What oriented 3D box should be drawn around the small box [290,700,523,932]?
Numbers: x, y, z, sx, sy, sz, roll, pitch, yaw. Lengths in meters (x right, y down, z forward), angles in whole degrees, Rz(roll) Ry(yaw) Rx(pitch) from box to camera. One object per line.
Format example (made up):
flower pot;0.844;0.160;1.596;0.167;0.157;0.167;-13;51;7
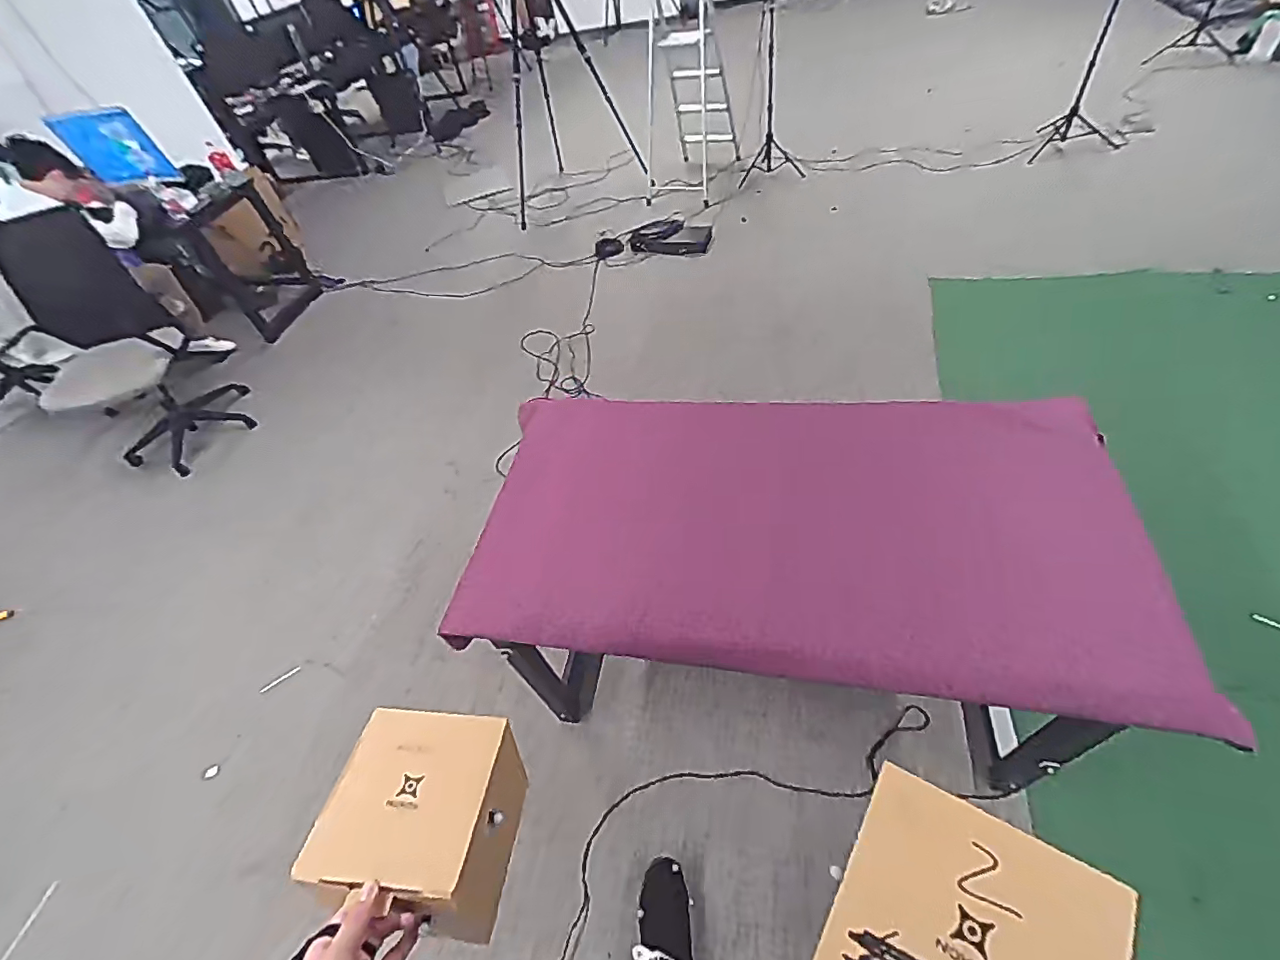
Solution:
small box;-0.244;0.384;0.621;0.168;0.176;0.179;3;37;6
